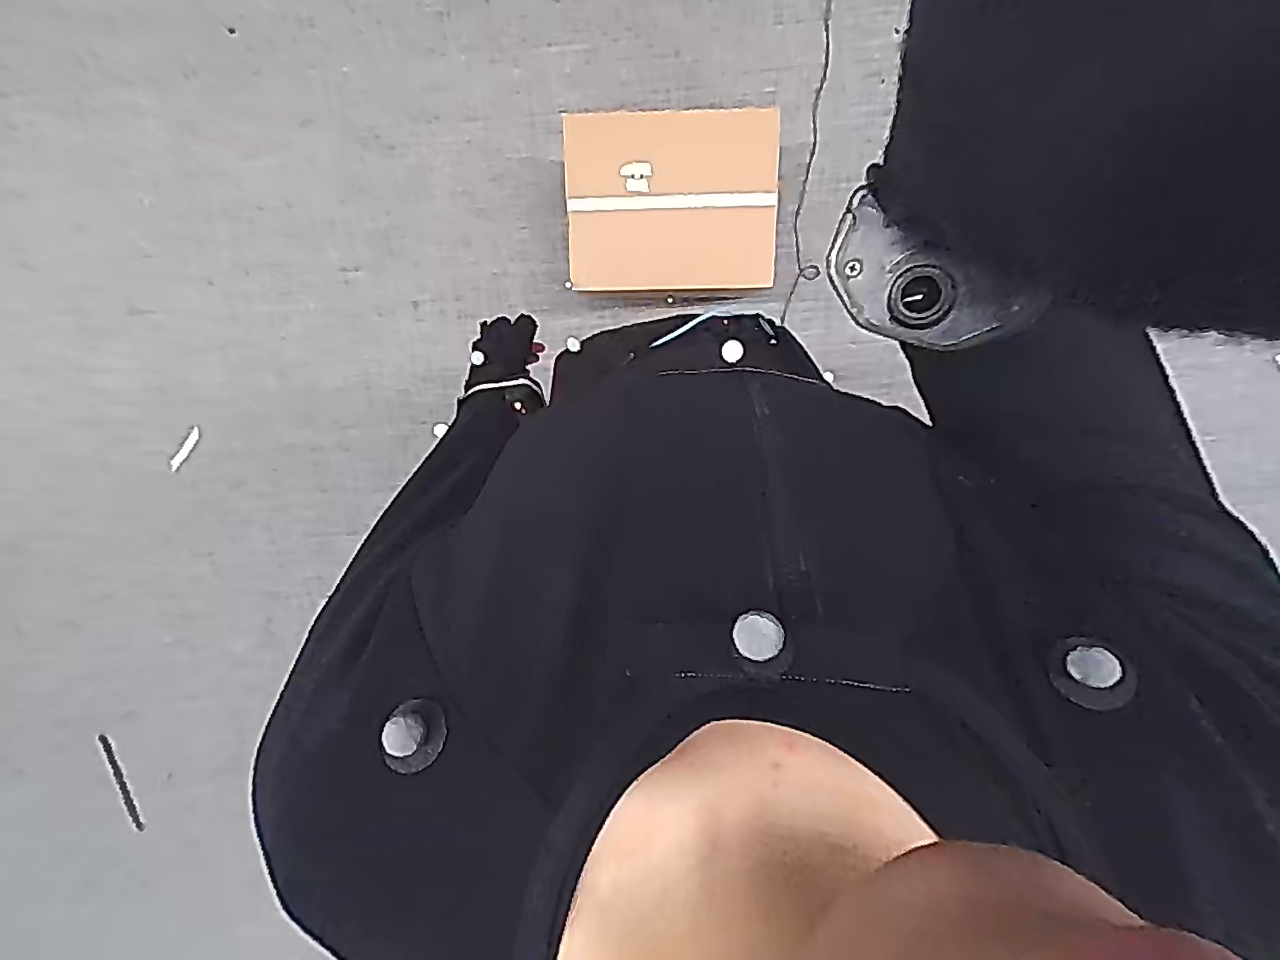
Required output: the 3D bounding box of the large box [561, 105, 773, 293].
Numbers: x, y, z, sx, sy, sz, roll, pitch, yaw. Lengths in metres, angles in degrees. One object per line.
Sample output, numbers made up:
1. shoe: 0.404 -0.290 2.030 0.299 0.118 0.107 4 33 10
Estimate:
1. large box: 0.059 -0.581 1.183 0.408 0.320 0.320 0 105 2
